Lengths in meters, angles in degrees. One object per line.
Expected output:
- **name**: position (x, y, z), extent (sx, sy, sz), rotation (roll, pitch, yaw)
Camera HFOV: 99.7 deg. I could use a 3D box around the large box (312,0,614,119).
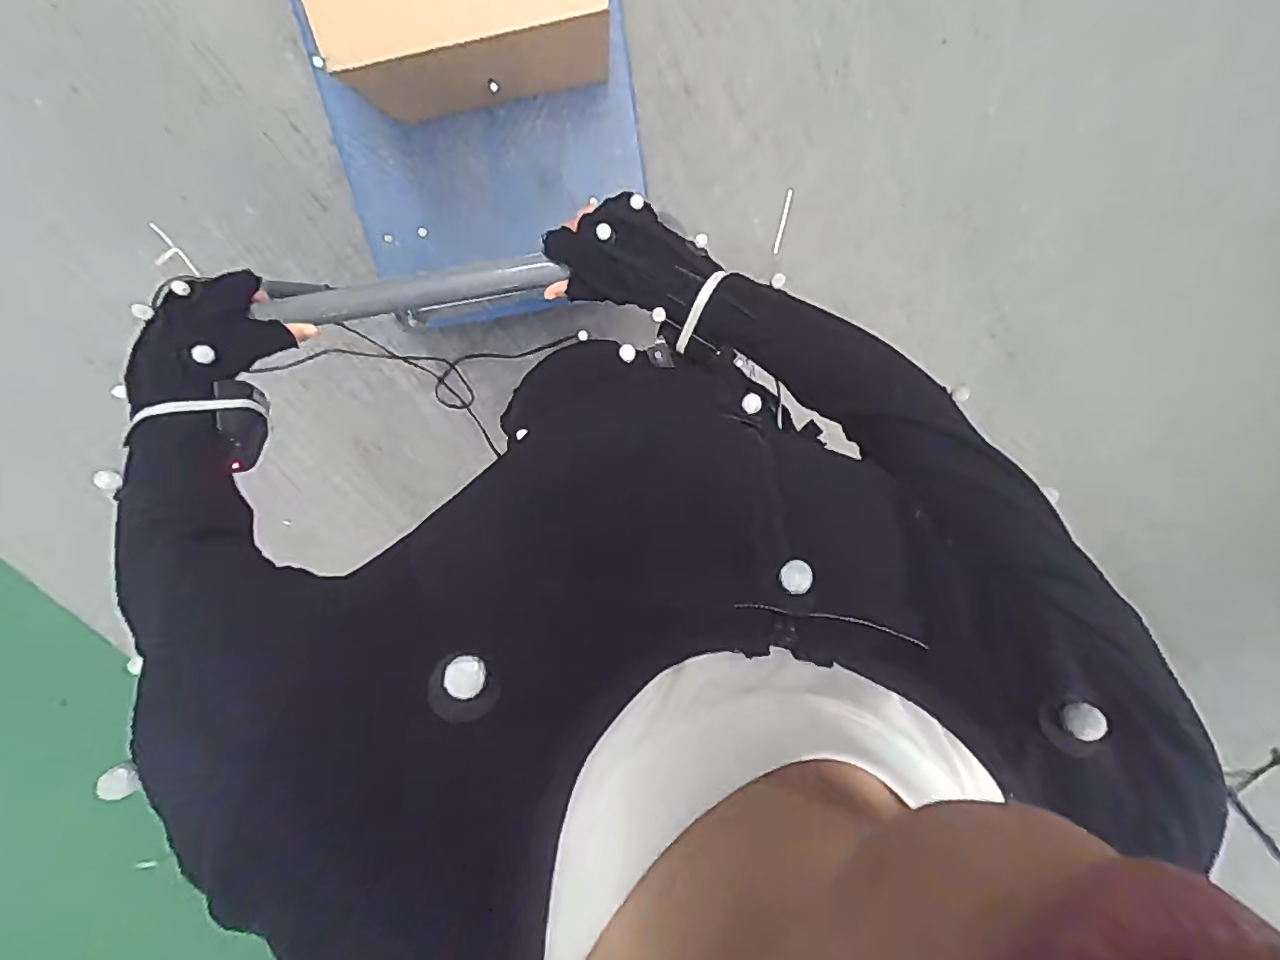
- **large box**: position (-0.268, -0.804, 0.832), extent (0.408, 0.320, 0.320), rotation (-12, 112, 1)
